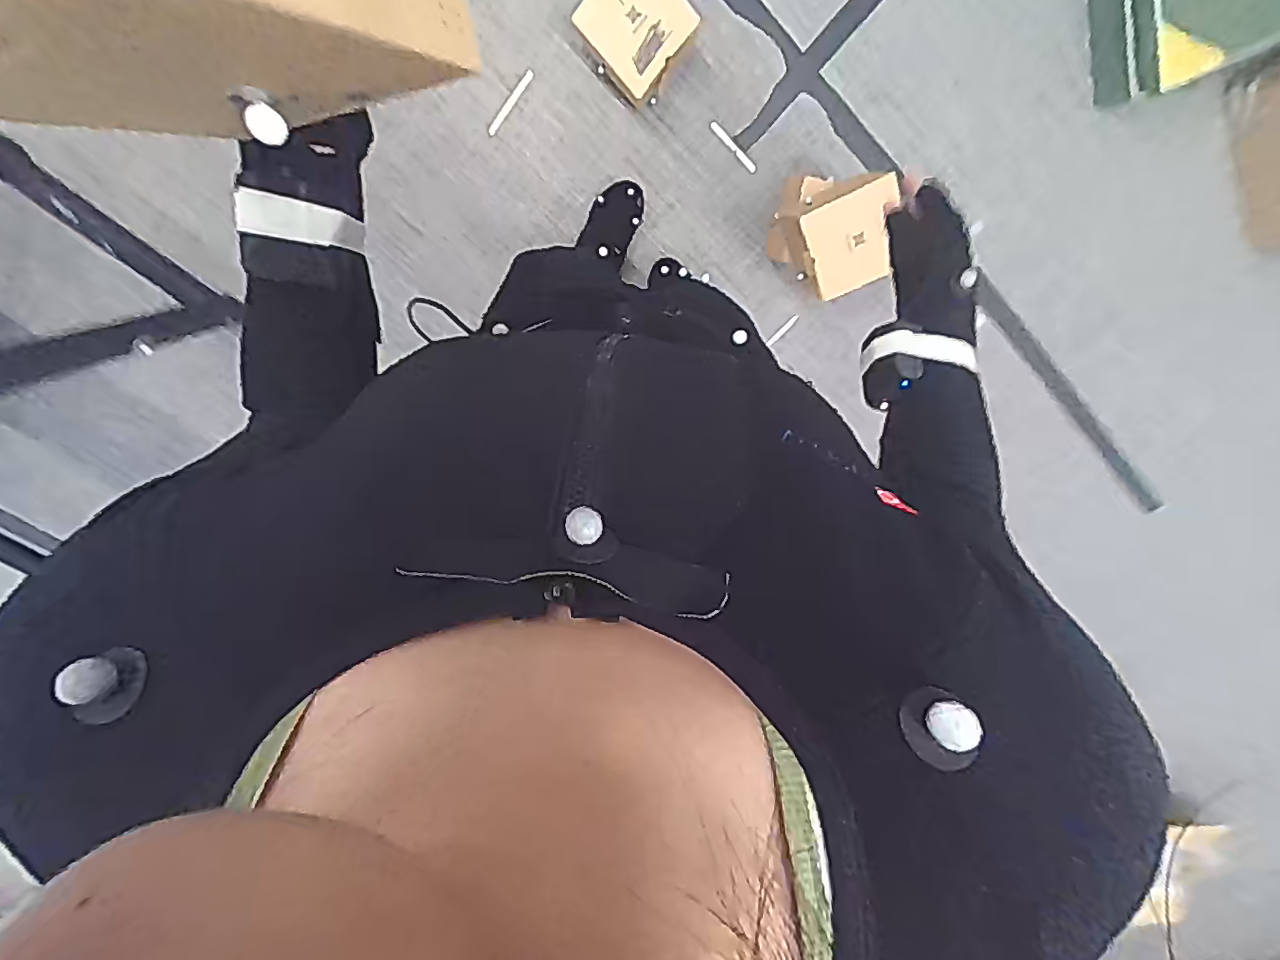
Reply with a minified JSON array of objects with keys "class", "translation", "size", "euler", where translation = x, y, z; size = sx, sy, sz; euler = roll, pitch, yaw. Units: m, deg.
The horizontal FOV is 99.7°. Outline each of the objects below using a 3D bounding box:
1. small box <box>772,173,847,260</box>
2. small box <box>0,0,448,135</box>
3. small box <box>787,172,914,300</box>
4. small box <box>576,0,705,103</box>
[{"class":"small box","translation":[0.407,-0.567,1.194],"size":[0.179,0.176,0.168],"euler":[9,118,-4]},{"class":"small box","translation":[-0.198,-0.226,0.178],"size":[0.168,0.176,0.179],"euler":[4,122,20]},{"class":"small box","translation":[0.400,-0.476,1.054],"size":[0.179,0.176,0.168],"euler":[-21,117,12]},{"class":"small box","translation":[0.004,-0.866,1.040],"size":[0.179,0.176,0.168],"euler":[42,111,-18]}]
